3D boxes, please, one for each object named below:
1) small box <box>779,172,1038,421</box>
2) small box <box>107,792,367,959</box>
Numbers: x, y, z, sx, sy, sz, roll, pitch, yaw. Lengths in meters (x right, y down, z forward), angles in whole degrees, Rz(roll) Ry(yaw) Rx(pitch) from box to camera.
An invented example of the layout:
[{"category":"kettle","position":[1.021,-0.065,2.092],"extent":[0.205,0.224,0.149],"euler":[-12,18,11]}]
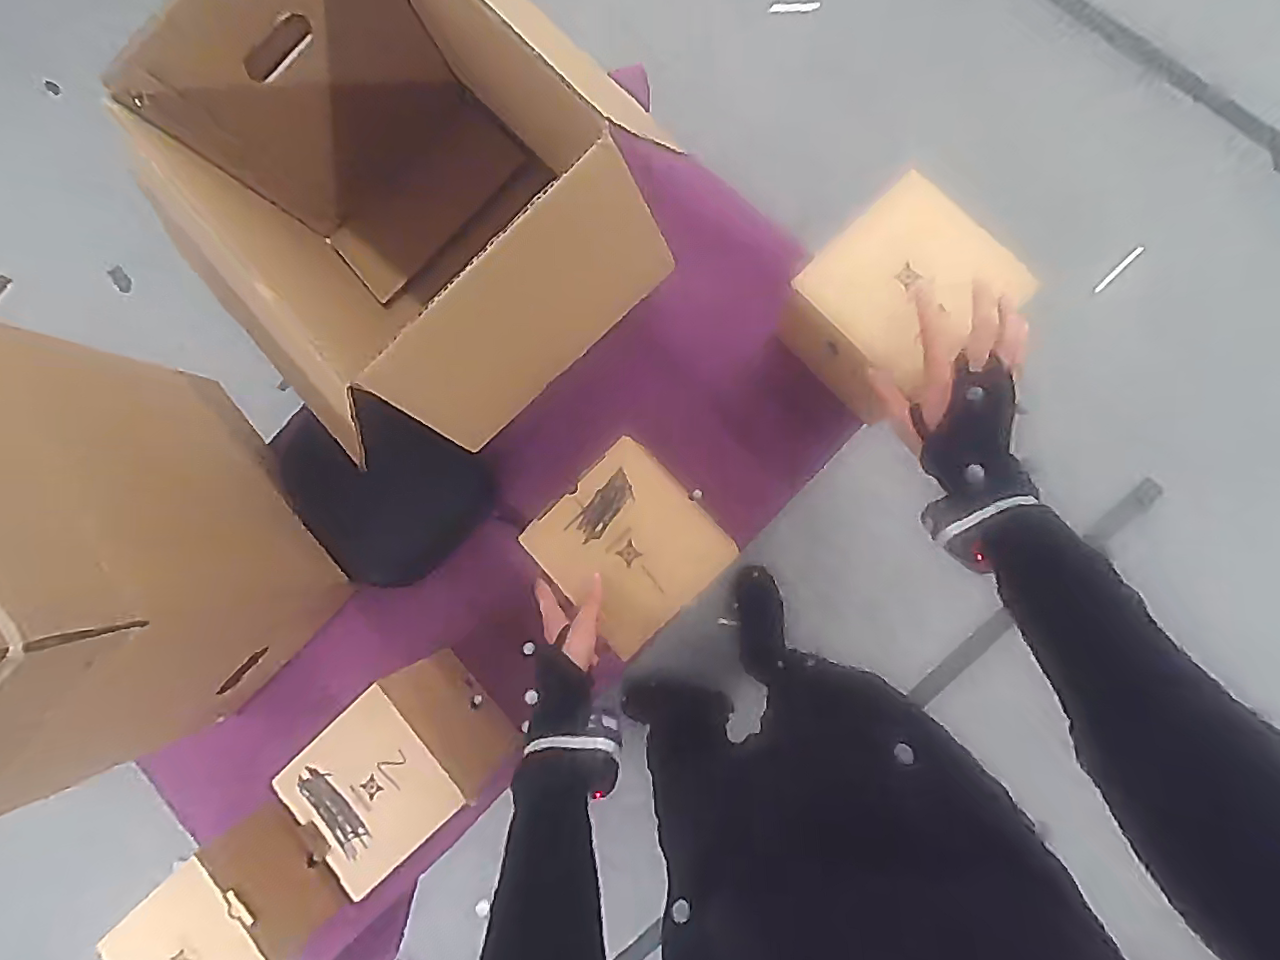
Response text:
[{"category":"small box","position":[0.276,-0.188,0.611],"extent":[0.168,0.176,0.179],"euler":[-43,81,5]},{"category":"small box","position":[-0.502,0.557,0.699],"extent":[0.179,0.176,0.168],"euler":[-43,82,3]}]
